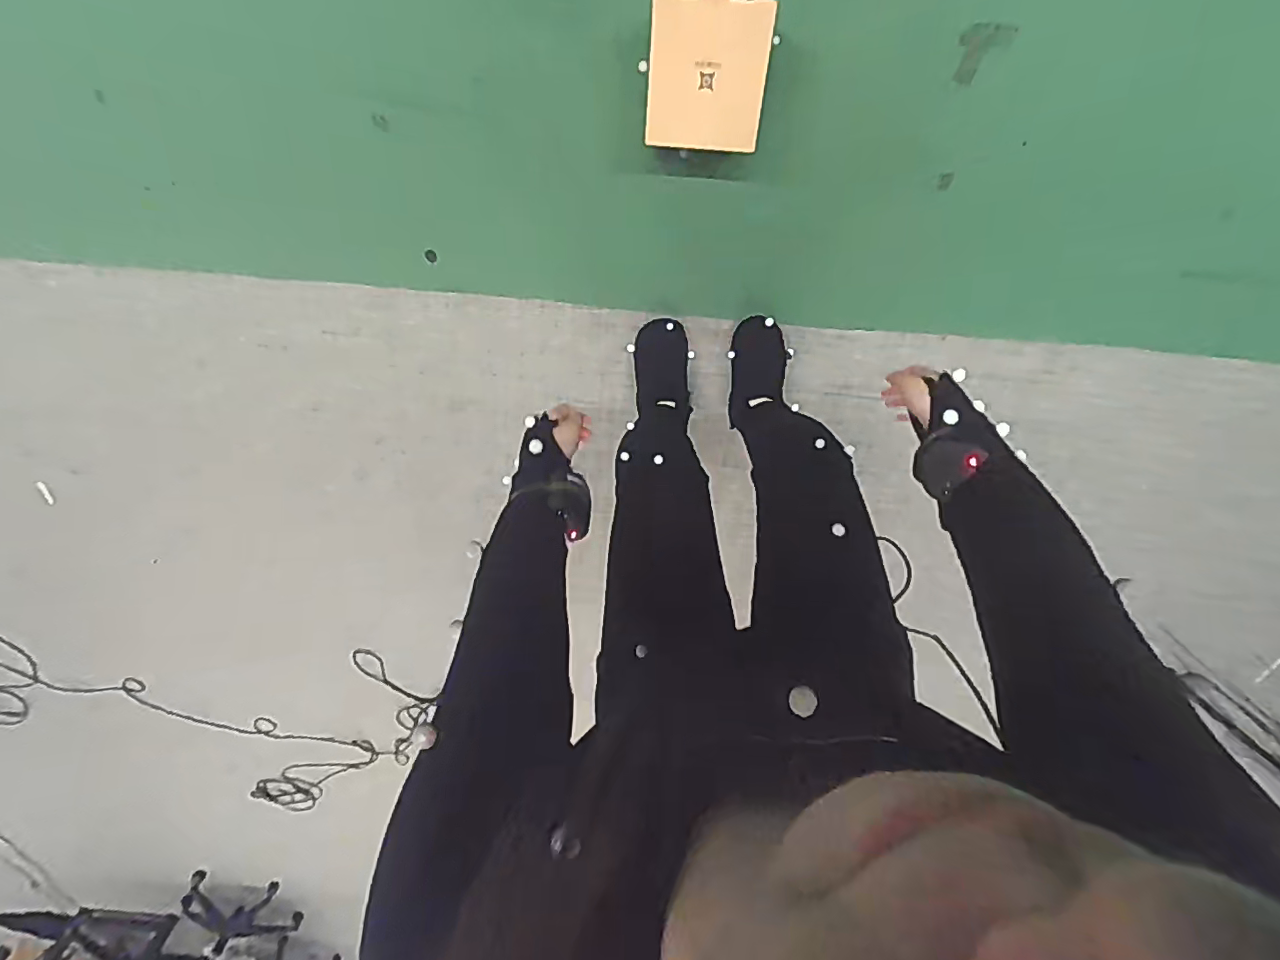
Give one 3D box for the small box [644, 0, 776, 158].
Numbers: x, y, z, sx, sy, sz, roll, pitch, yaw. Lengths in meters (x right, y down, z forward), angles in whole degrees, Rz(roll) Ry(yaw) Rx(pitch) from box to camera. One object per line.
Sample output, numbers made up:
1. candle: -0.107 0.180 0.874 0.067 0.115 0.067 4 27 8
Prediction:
1. small box: 0.098 -0.599 0.818 0.168 0.176 0.179 5 123 1
